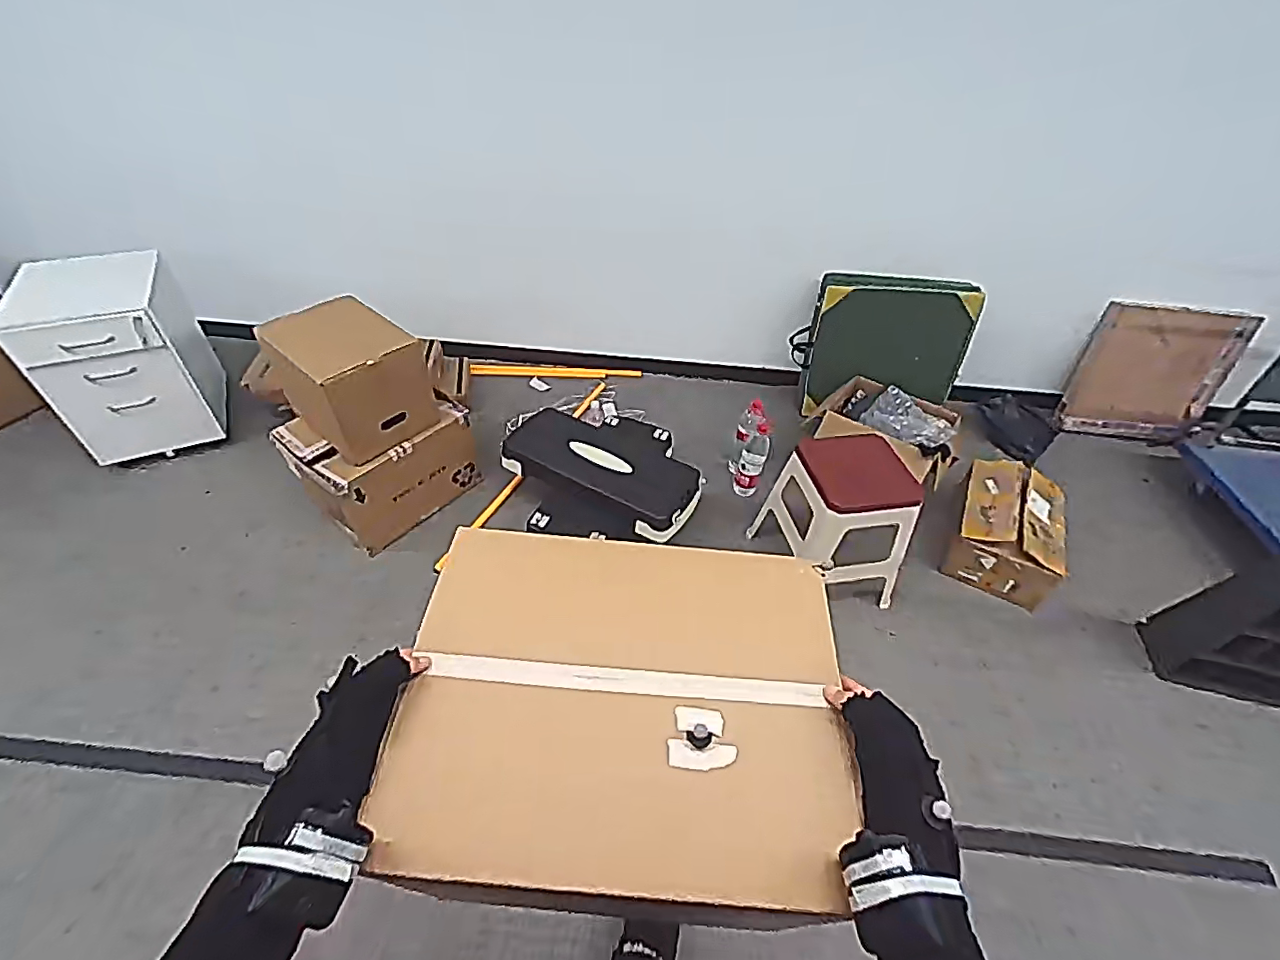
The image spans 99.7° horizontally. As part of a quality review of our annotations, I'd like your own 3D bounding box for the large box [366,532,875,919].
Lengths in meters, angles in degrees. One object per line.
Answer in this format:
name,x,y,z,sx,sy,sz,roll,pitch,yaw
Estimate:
large box,-0.017,0.287,0.622,0.408,0.320,0.320,6,49,0
